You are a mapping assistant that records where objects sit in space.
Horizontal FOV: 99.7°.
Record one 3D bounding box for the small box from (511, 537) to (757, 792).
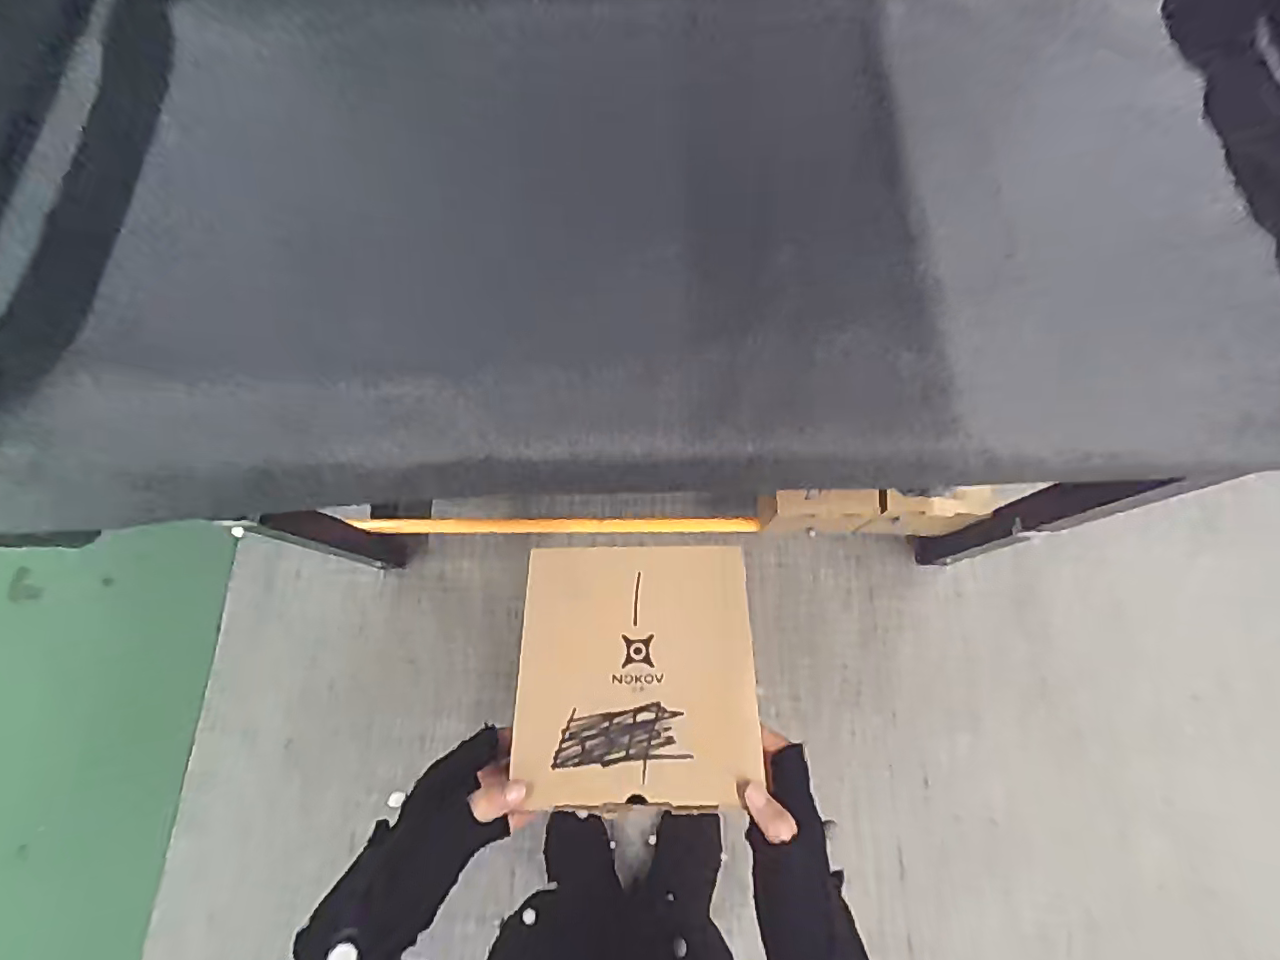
[{"bbox_3d":[0.000,0.160,0.459,0.168,0.176,0.179,0,61,1],"label":"small box"}]
